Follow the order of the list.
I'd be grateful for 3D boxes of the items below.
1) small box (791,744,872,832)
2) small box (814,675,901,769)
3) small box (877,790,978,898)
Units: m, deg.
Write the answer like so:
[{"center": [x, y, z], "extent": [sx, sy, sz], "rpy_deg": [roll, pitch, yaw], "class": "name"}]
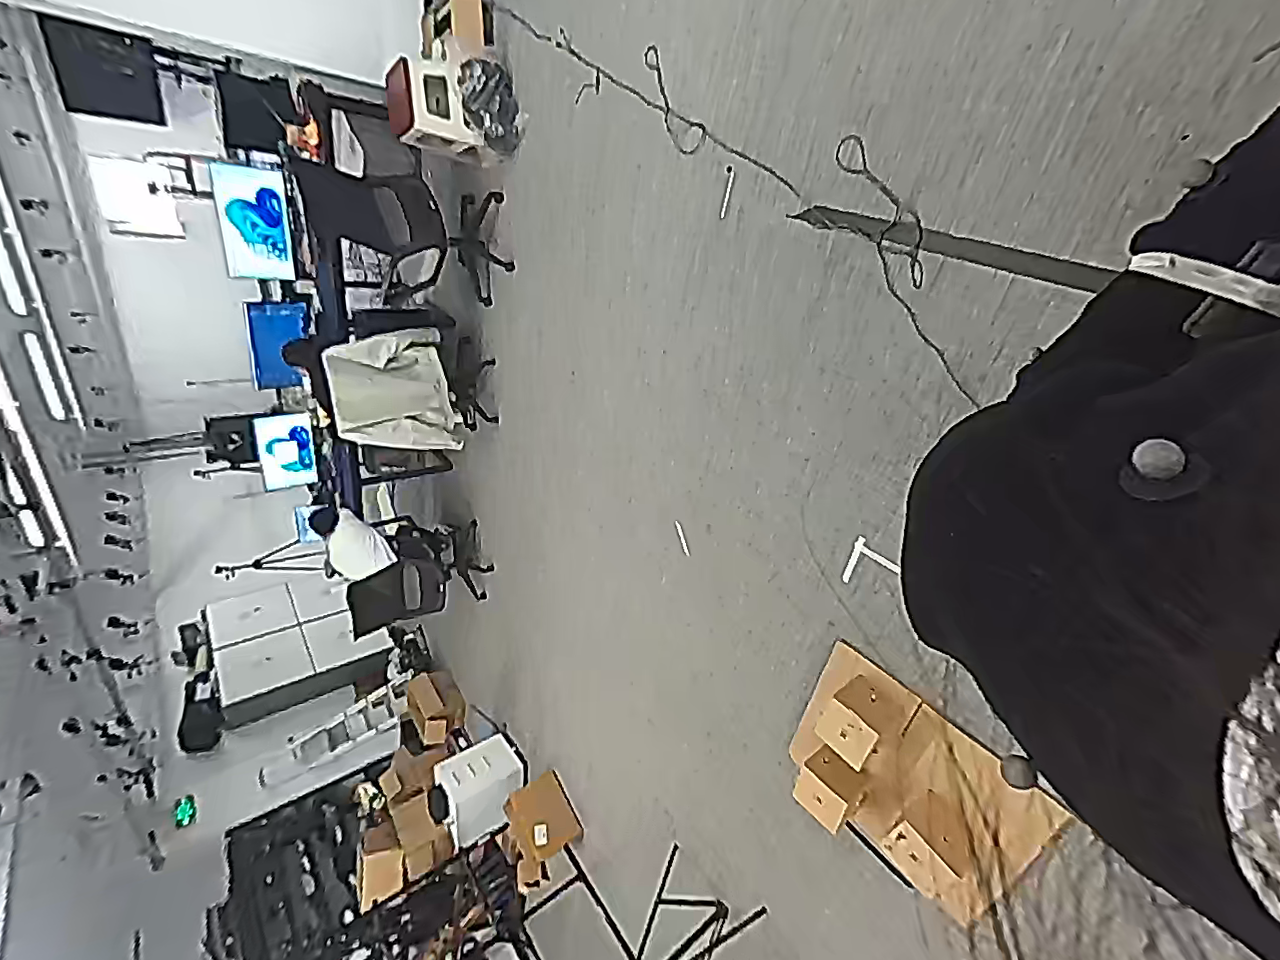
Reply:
[{"center": [0.651, 1.033, 1.836], "extent": [0.179, 0.176, 0.168], "rpy_deg": [32, 126, 42], "class": "small box"}, {"center": [0.687, 0.756, 1.704], "extent": [0.168, 0.176, 0.179], "rpy_deg": [37, 126, 38], "class": "small box"}, {"center": [0.849, 1.065, 1.593], "extent": [0.179, 0.176, 0.168], "rpy_deg": [44, 132, 32], "class": "small box"}]
